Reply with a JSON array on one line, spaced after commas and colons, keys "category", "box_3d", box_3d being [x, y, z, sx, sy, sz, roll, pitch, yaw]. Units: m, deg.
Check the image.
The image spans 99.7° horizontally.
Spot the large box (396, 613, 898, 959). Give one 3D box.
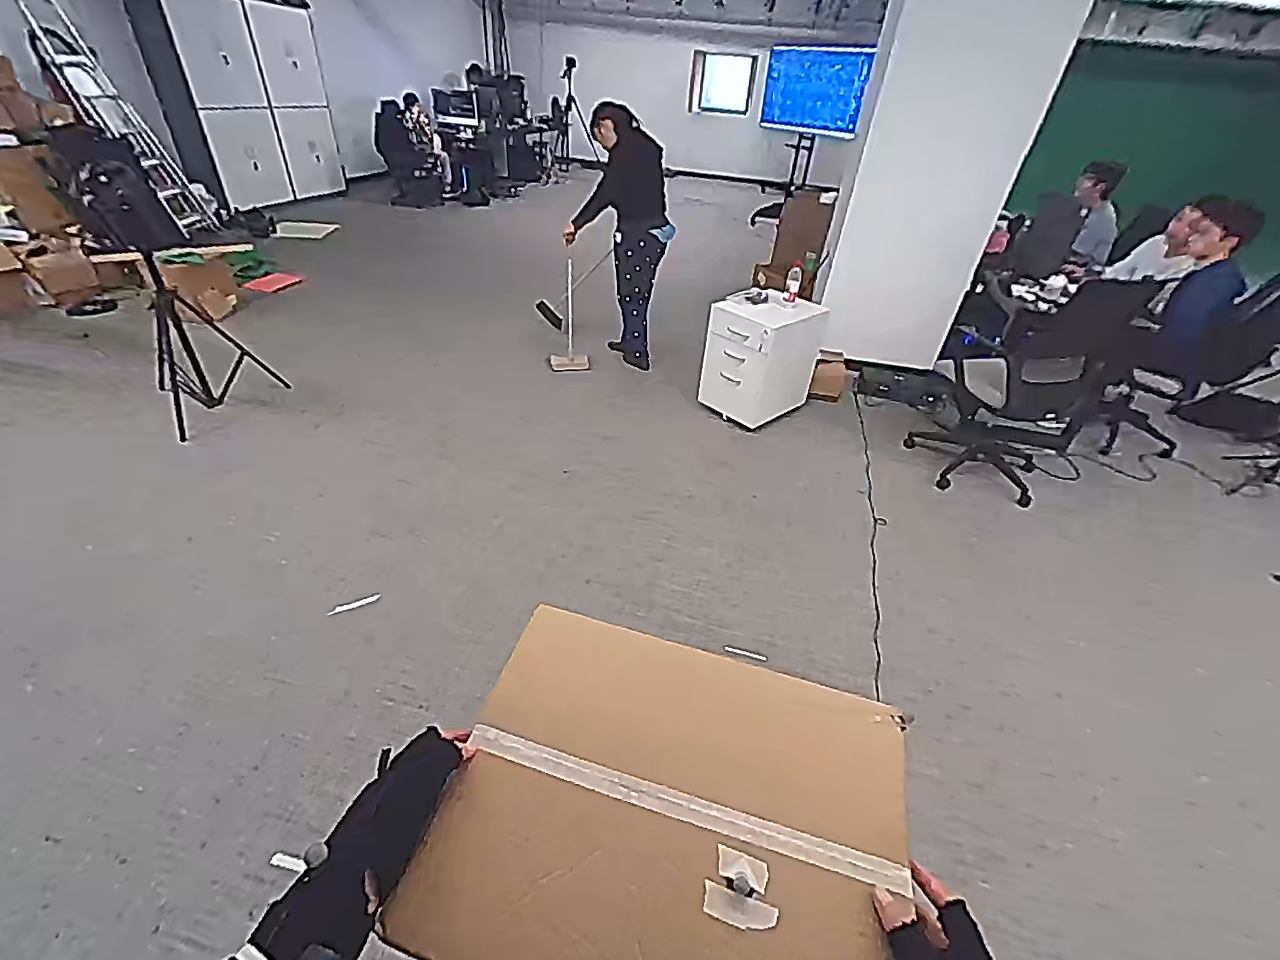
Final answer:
[{"category": "large box", "box_3d": [0.024, 0.406, 0.607, 0.408, 0.320, 0.320, 14, 45, 10]}]
